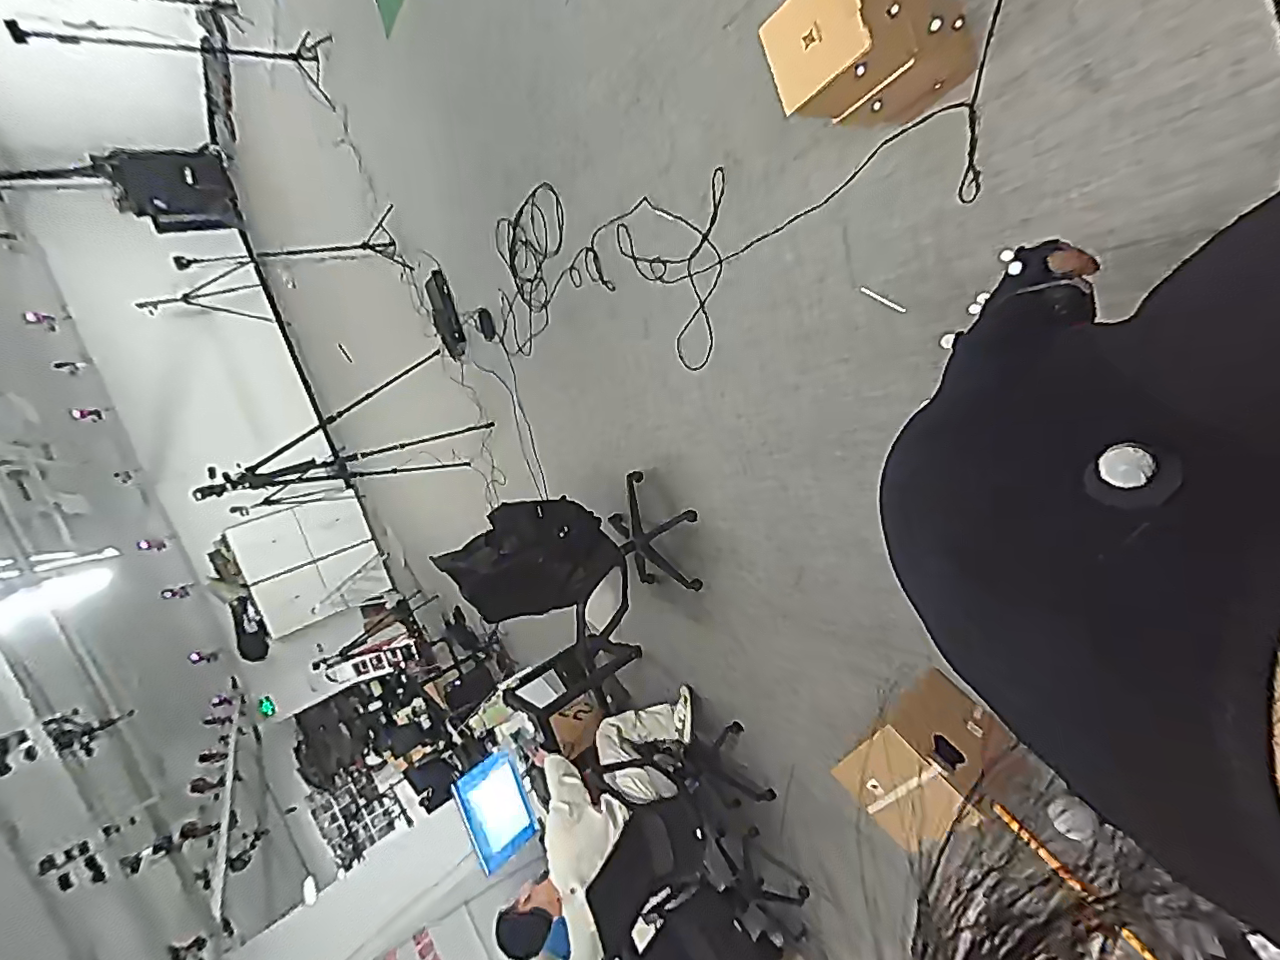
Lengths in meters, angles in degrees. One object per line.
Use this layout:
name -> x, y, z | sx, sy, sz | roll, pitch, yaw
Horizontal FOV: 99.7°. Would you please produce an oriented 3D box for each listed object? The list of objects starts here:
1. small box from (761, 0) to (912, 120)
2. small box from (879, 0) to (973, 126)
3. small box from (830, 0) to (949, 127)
small box -> 0.360, -0.794, 0.991 | 0.179, 0.176, 0.168 | -15, 98, 54
small box -> 0.596, -0.913, 1.183 | 0.179, 0.176, 0.168 | -19, 93, 56
small box -> 0.481, -0.843, 1.089 | 0.179, 0.176, 0.168 | -13, 99, 54
